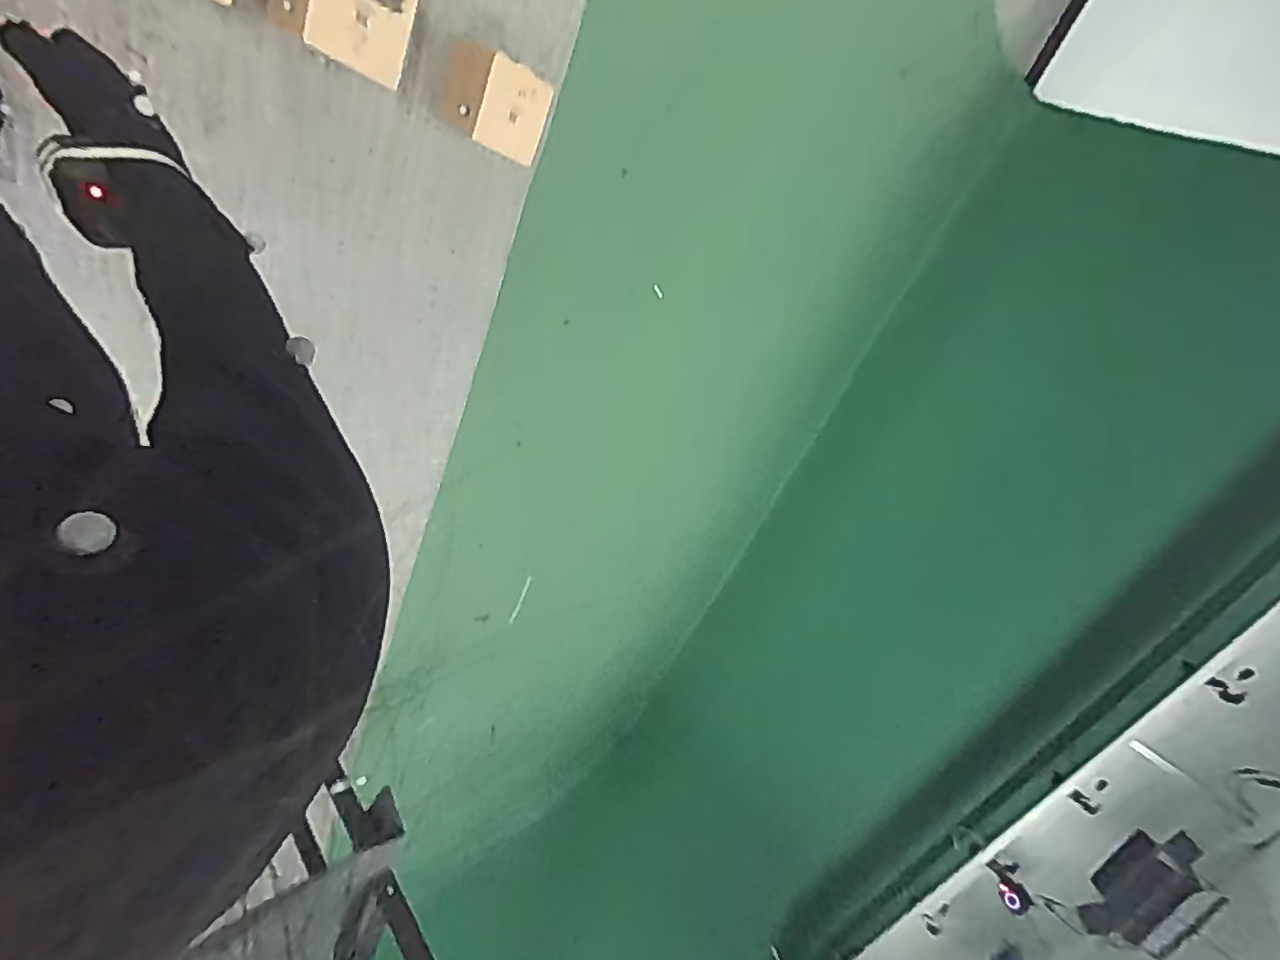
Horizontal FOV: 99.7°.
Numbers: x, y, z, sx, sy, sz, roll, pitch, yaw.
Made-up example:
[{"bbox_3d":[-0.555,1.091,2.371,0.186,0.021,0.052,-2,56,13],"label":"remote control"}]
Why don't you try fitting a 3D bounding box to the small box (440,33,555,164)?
[{"bbox_3d":[-0.330,-0.863,1.228,0.168,0.176,0.179,-7,131,-52],"label":"small box"}]
